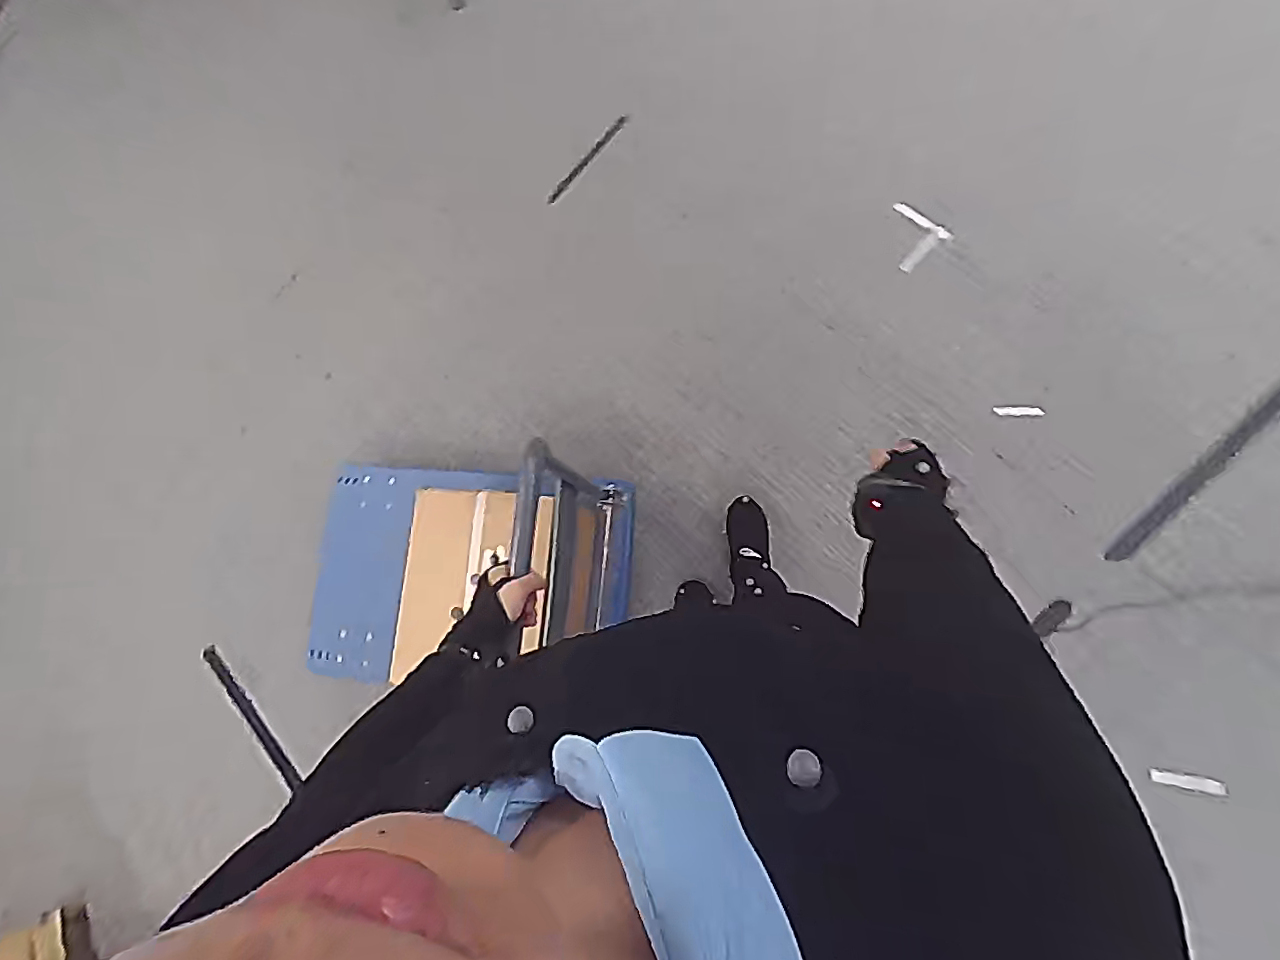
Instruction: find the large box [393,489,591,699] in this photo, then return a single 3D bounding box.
[{"bbox_3d":[-0.312,0.247,1.237,0.320,0.320,0.408,3,81,11],"label":"large box"}]
